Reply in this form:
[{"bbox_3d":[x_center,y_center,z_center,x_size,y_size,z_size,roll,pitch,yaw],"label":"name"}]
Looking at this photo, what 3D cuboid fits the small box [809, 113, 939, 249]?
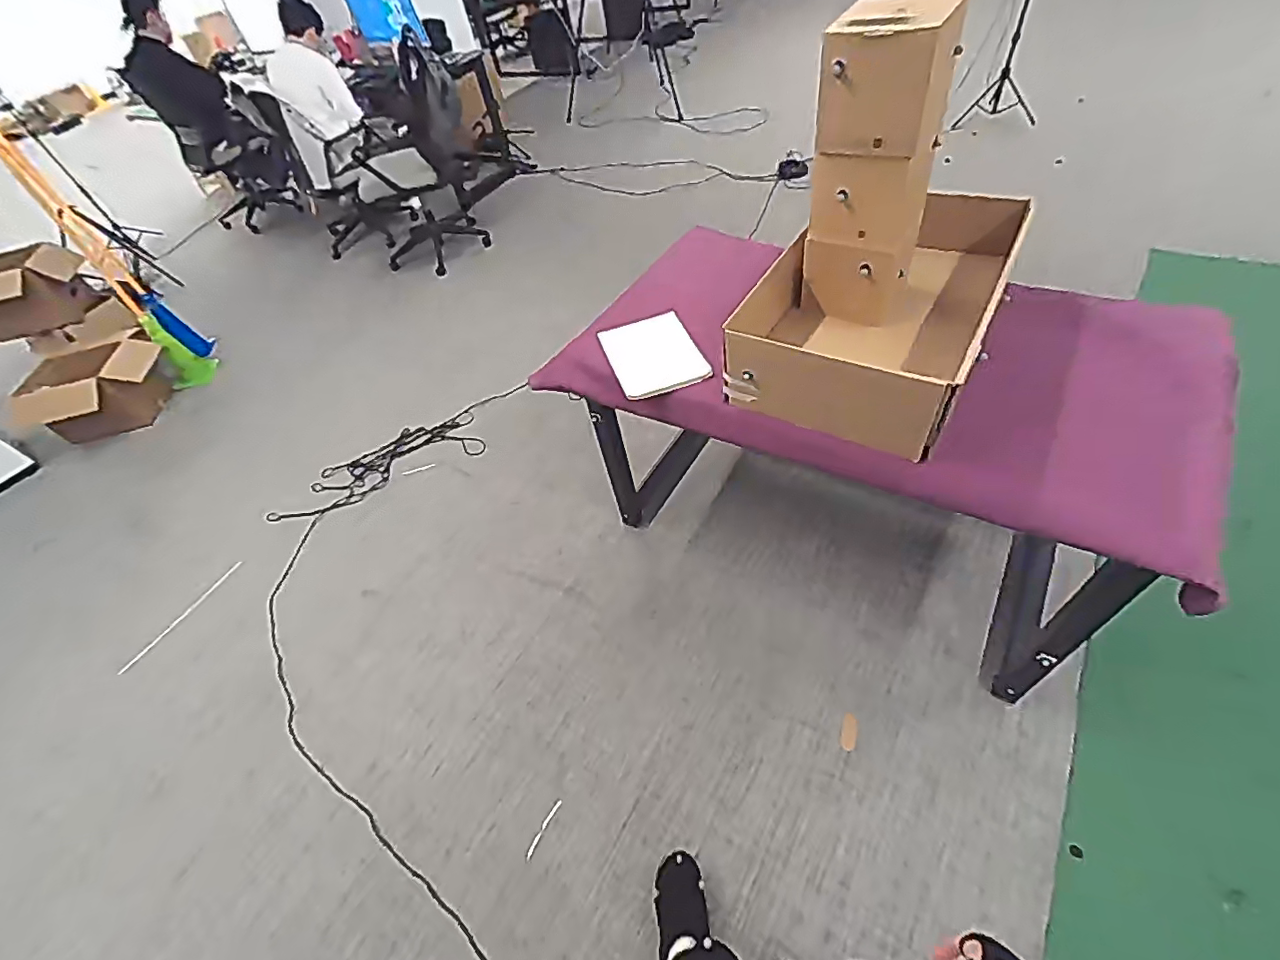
[{"bbox_3d":[0.428,-0.557,1.011,0.168,0.176,0.179,24,60,28],"label":"small box"}]
